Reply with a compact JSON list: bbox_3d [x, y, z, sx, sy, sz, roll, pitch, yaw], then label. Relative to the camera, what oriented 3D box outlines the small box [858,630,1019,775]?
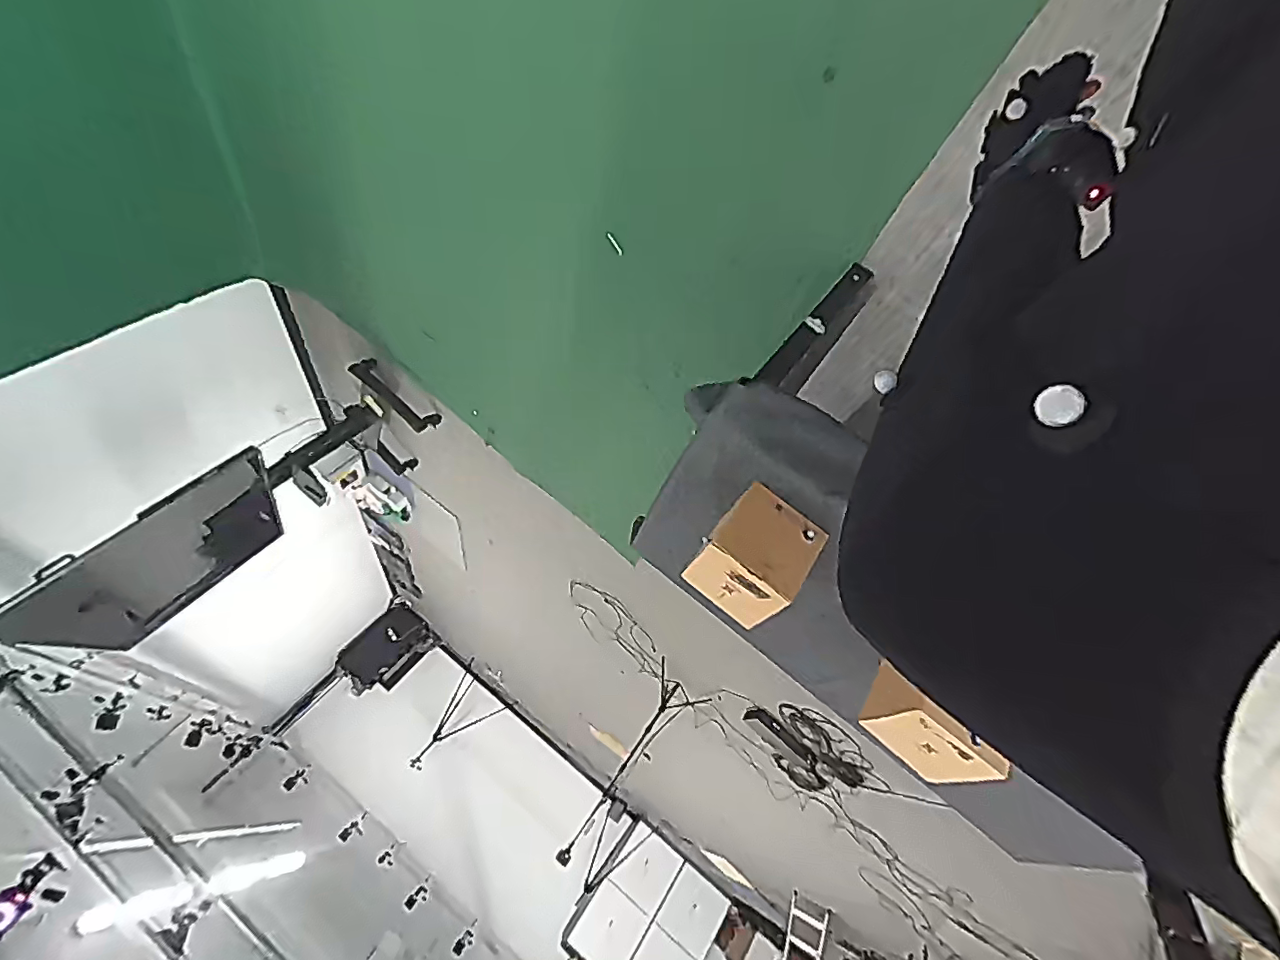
[{"bbox_3d":[0.538,0.401,0.975,0.168,0.176,0.179,38,148,7],"label":"small box"}]

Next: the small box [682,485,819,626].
[{"bbox_3d":[0.210,0.140,1.016,0.168,0.176,0.179,38,149,6],"label":"small box"}]
